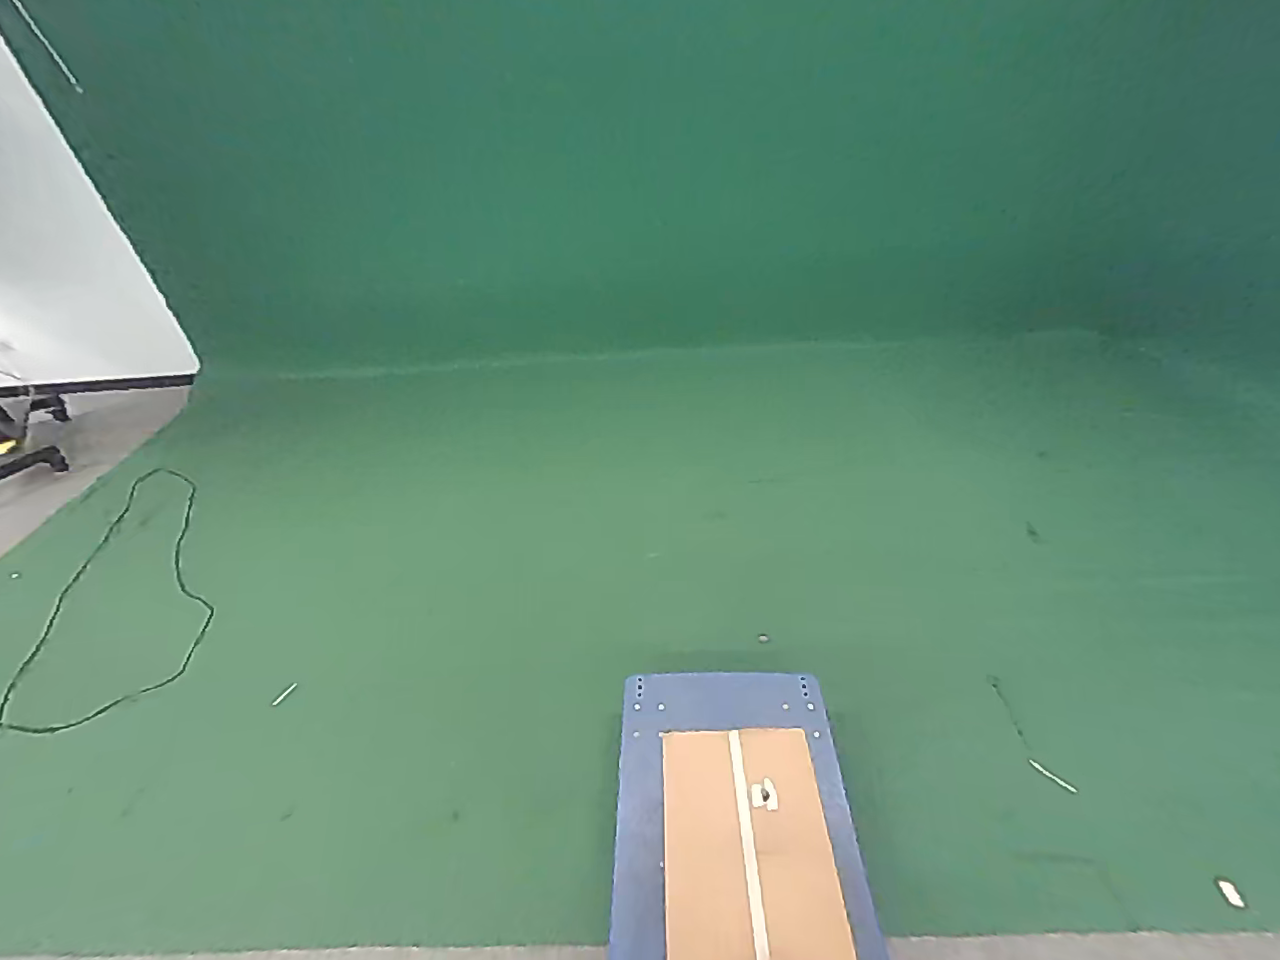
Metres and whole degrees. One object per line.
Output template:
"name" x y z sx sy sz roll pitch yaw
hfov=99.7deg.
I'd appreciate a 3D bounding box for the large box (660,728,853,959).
"large box" 0.211 0.797 1.137 0.320 0.320 0.408 -3 39 3
